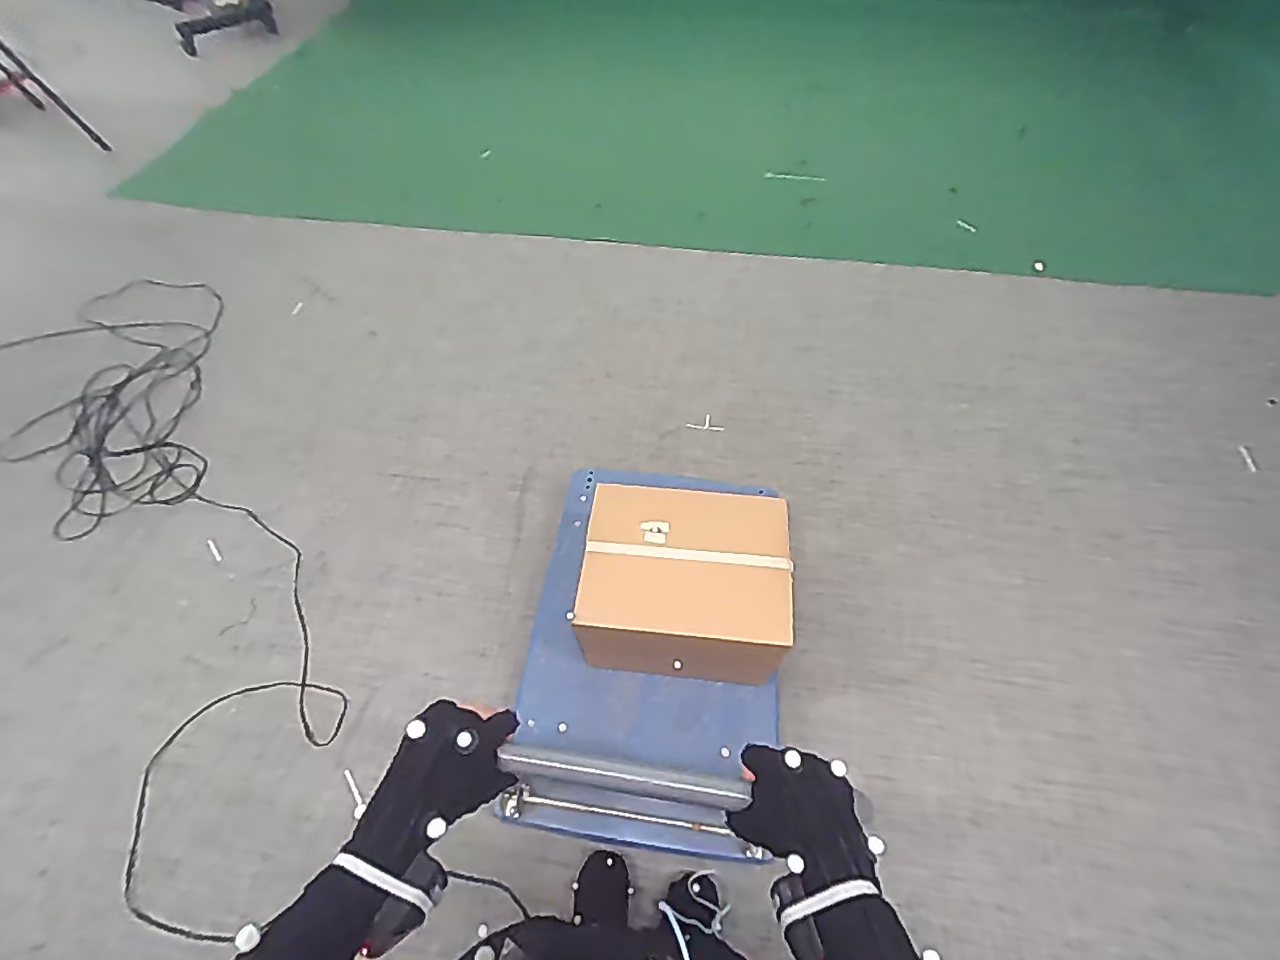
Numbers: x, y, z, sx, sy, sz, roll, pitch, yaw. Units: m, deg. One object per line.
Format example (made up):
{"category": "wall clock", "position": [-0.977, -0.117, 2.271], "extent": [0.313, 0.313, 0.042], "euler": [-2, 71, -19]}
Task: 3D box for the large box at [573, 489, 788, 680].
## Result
{"category": "large box", "position": [0.093, 0.240, 1.199], "extent": [0.408, 0.320, 0.320], "euler": [4, 56, 5]}
